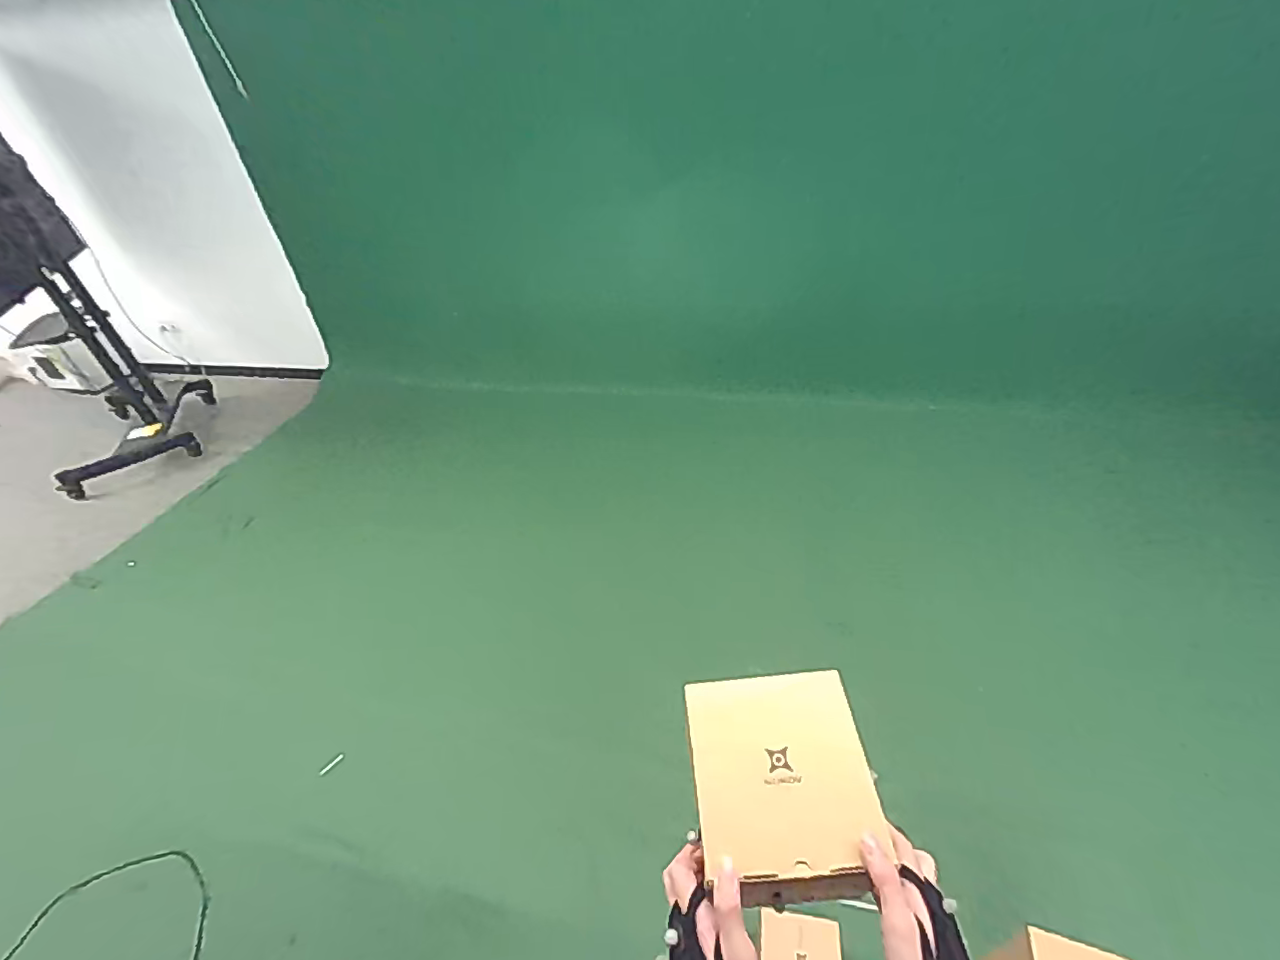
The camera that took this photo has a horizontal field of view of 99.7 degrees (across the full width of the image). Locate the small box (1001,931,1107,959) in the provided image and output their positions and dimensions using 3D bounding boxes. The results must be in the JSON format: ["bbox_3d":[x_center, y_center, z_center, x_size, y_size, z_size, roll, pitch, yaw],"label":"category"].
[{"bbox_3d":[0.777,0.971,0.973,0.168,0.176,0.179,9,40,18],"label":"small box"}]

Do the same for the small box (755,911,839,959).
[{"bbox_3d":[0.335,1.073,1.161,0.168,0.176,0.179,3,38,11],"label":"small box"}]

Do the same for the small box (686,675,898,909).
[{"bbox_3d":[0.138,0.329,0.570,0.168,0.176,0.179,-5,47,1],"label":"small box"}]
